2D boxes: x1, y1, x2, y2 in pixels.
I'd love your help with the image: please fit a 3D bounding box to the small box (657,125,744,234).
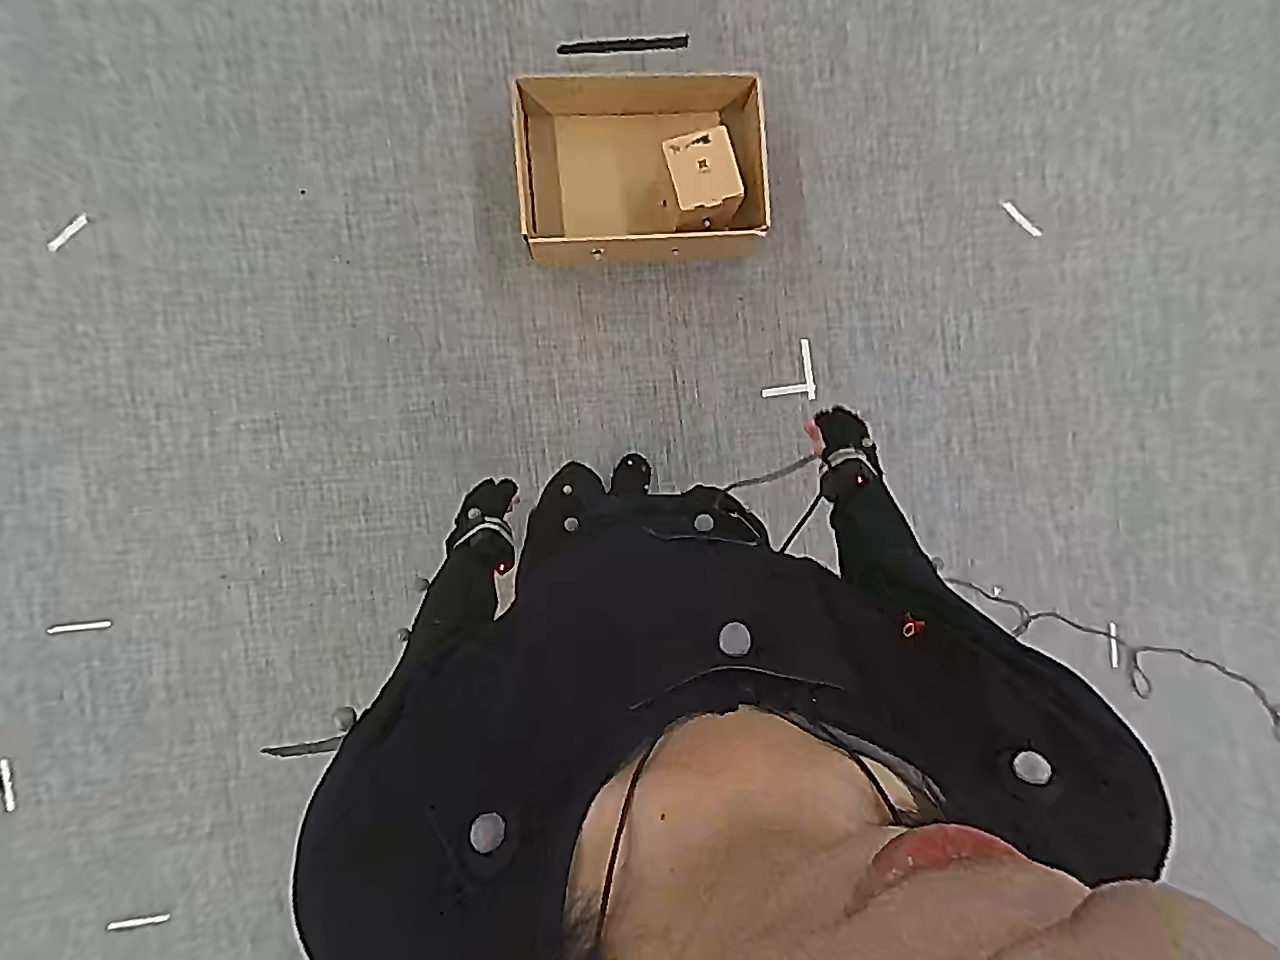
[{"bbox_3d":[0.148,-0.752,1.378,0.168,0.176,0.179,-17,93,-4],"label":"small box"}]
